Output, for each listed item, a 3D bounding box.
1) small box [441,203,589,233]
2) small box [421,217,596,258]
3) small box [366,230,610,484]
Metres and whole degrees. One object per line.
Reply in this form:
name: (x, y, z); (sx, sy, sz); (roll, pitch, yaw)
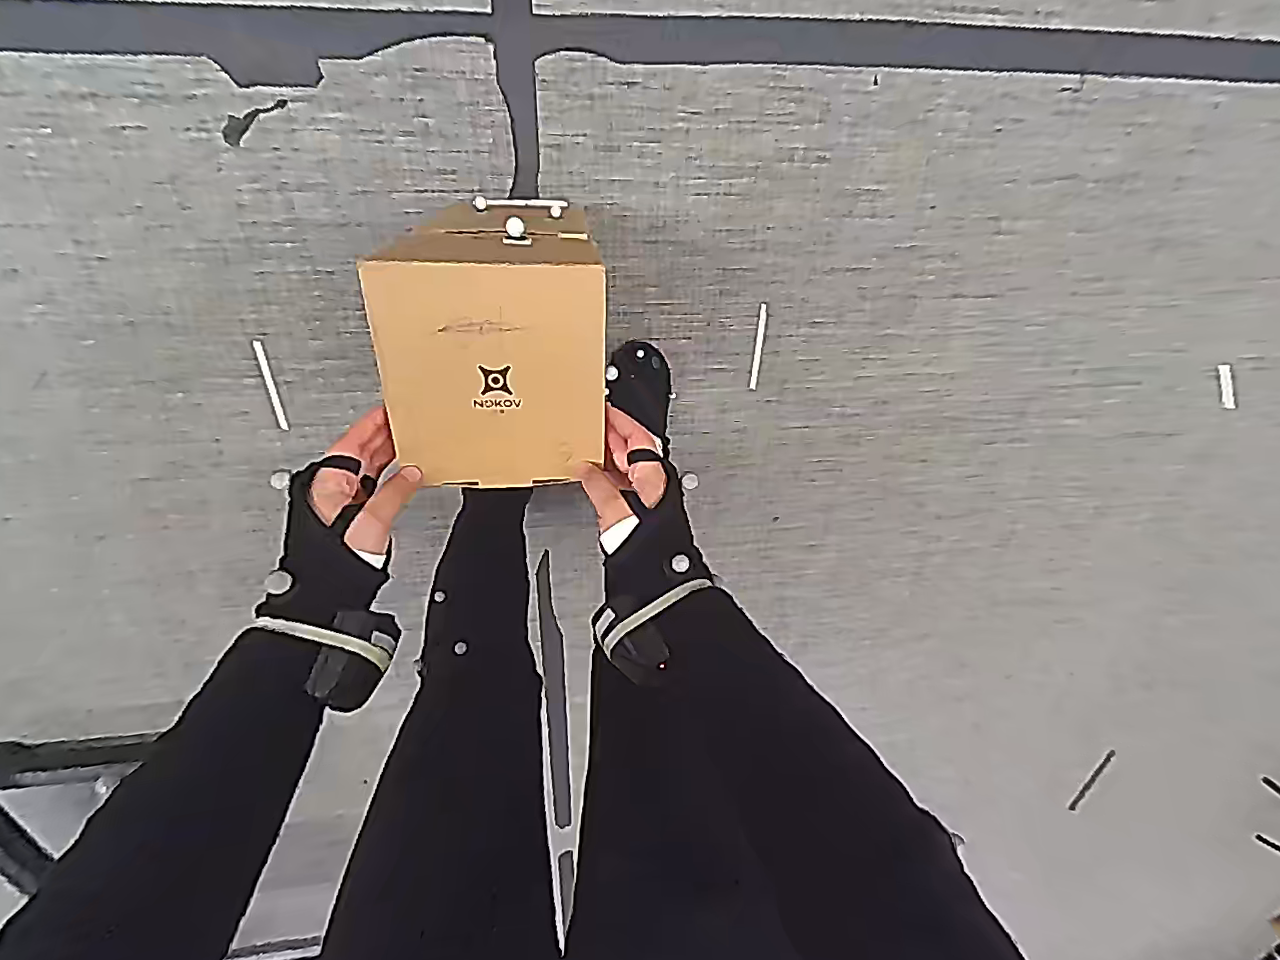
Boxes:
small box: (-0.162, -0.286, 0.754); (0.179, 0.176, 0.168); (-2, 122, -8)
small box: (-0.138, -0.197, 0.617); (0.168, 0.176, 0.179); (-2, 122, -7)
small box: (-0.116, -0.113, 0.478); (0.168, 0.176, 0.179); (-2, 120, -8)
